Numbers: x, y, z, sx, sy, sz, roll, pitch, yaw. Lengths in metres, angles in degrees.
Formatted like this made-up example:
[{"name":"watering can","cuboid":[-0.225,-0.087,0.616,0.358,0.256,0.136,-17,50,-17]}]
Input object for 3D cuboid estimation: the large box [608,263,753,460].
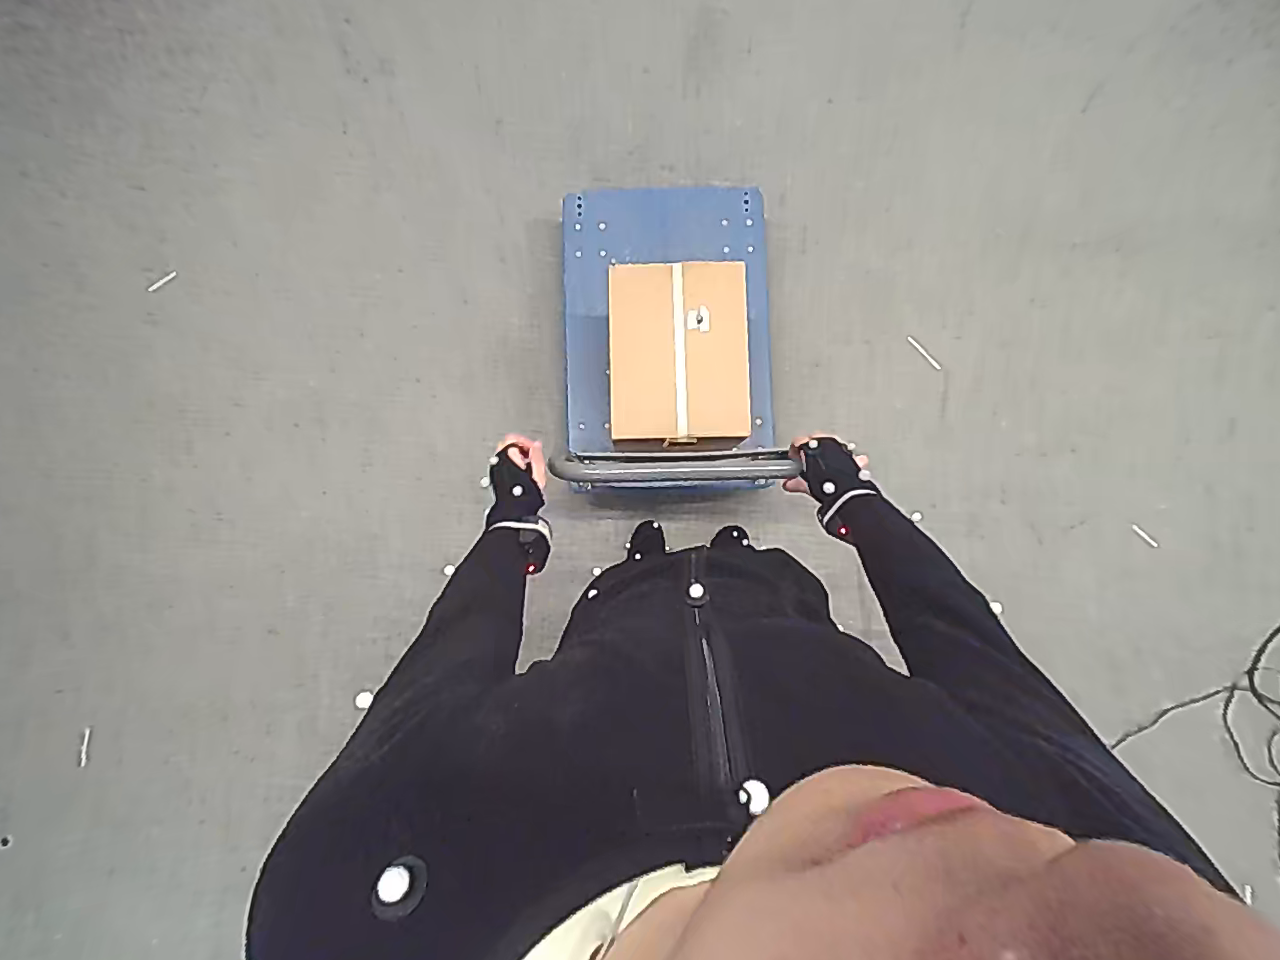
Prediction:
[{"name":"large box","cuboid":[0.089,-0.273,1.353,0.320,0.320,0.408,-1,84,-1]}]
